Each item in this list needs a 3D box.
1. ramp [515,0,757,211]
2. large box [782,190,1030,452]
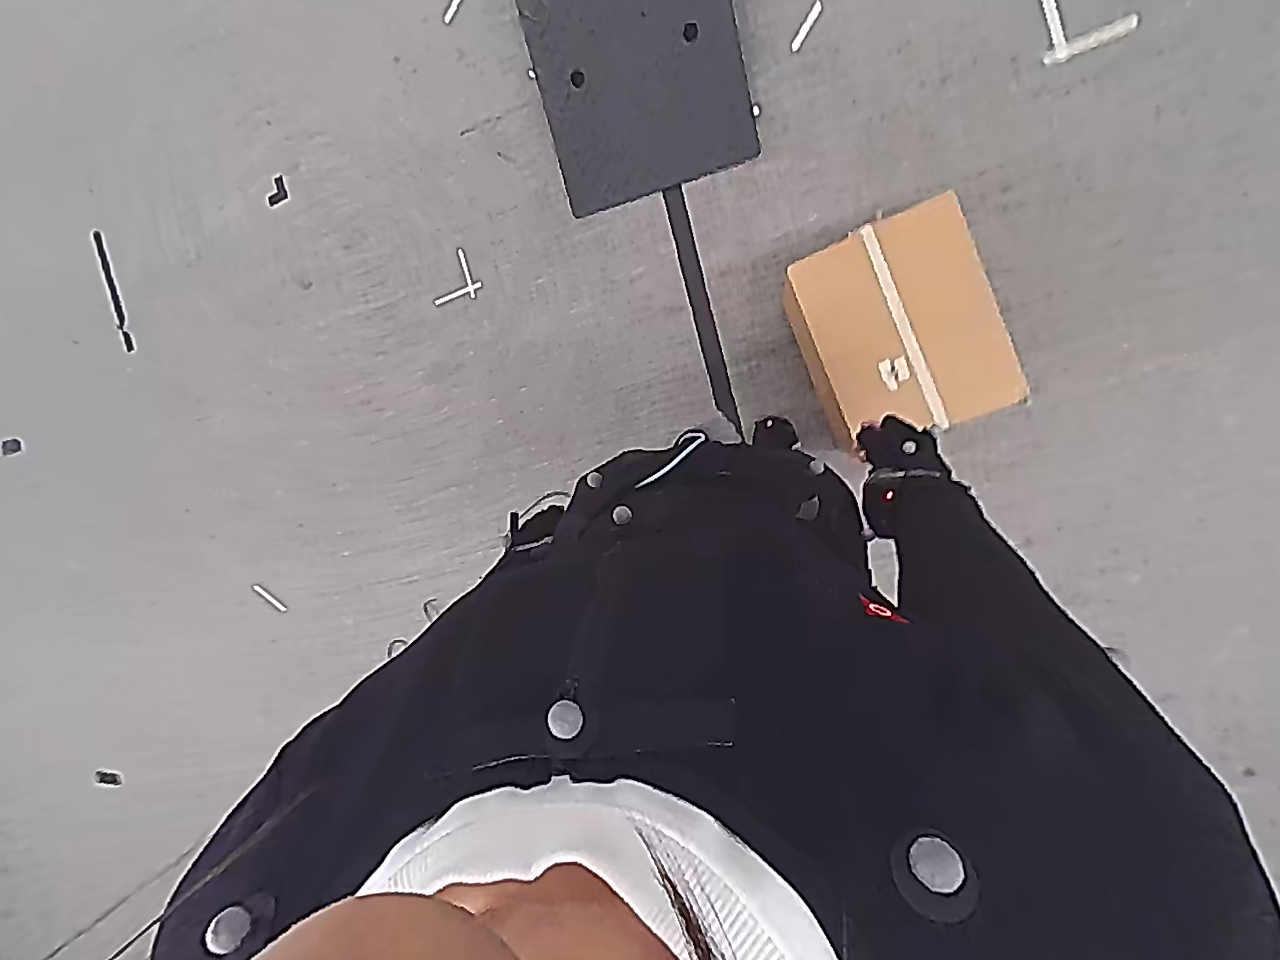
[{"bbox_3d":[-0.071,-1.216,1.240,0.509,0.206,0.991,-14,94,13],"label":"ramp"},{"bbox_3d":[0.529,-0.309,1.158,0.320,0.320,0.408,-22,93,15],"label":"large box"}]
